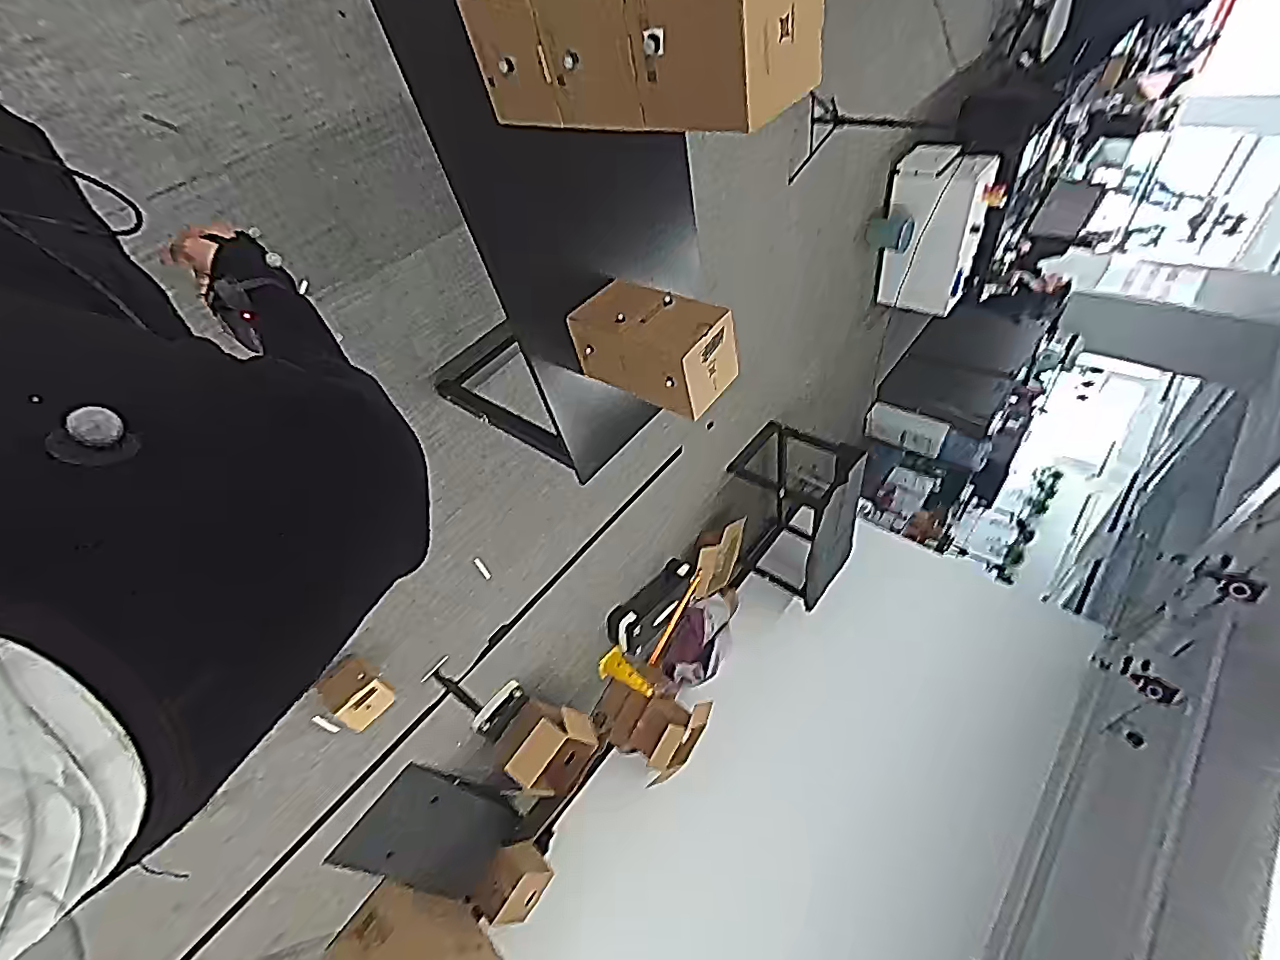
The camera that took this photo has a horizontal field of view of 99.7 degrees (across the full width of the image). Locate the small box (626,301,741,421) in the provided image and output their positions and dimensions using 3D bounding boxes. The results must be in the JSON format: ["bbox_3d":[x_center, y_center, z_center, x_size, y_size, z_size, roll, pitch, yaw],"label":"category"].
[{"bbox_3d":[0.092,-0.259,1.144,0.168,0.176,0.179,-48,145,-21],"label":"small box"}]

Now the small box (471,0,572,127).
[{"bbox_3d":[-0.135,-0.673,0.841,0.179,0.176,0.168,-46,144,-23],"label":"small box"}]

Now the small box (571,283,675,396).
[{"bbox_3d":[-0.027,-0.326,1.236,0.179,0.176,0.168,-46,143,-24],"label":"small box"}]

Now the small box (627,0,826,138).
[{"bbox_3d":[0.111,-0.547,0.664,0.179,0.176,0.168,-46,142,-23],"label":"small box"}]

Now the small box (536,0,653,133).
[{"bbox_3d":[-0.011,-0.610,0.752,0.179,0.176,0.168,-46,143,-24],"label":"small box"}]
